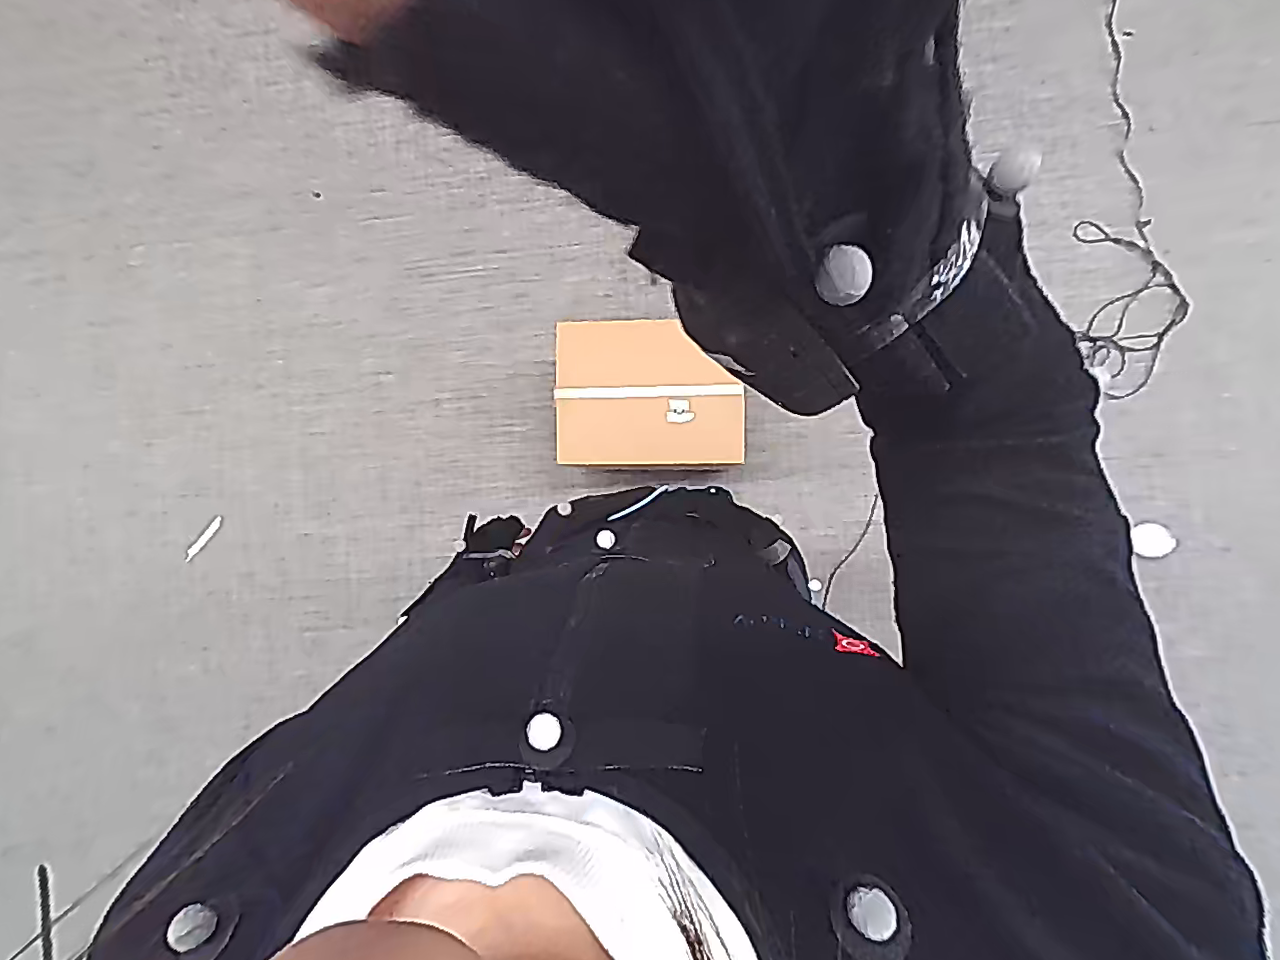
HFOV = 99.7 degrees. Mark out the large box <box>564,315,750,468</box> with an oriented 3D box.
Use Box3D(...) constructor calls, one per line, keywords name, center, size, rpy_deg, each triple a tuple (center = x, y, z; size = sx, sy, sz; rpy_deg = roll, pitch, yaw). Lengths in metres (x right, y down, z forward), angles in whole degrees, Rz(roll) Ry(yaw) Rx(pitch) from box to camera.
Box3D(name="large box", center=(0.043, -0.194, 1.313), size=(0.408, 0.320, 0.320), rpy_deg=(0, 90, 4))
